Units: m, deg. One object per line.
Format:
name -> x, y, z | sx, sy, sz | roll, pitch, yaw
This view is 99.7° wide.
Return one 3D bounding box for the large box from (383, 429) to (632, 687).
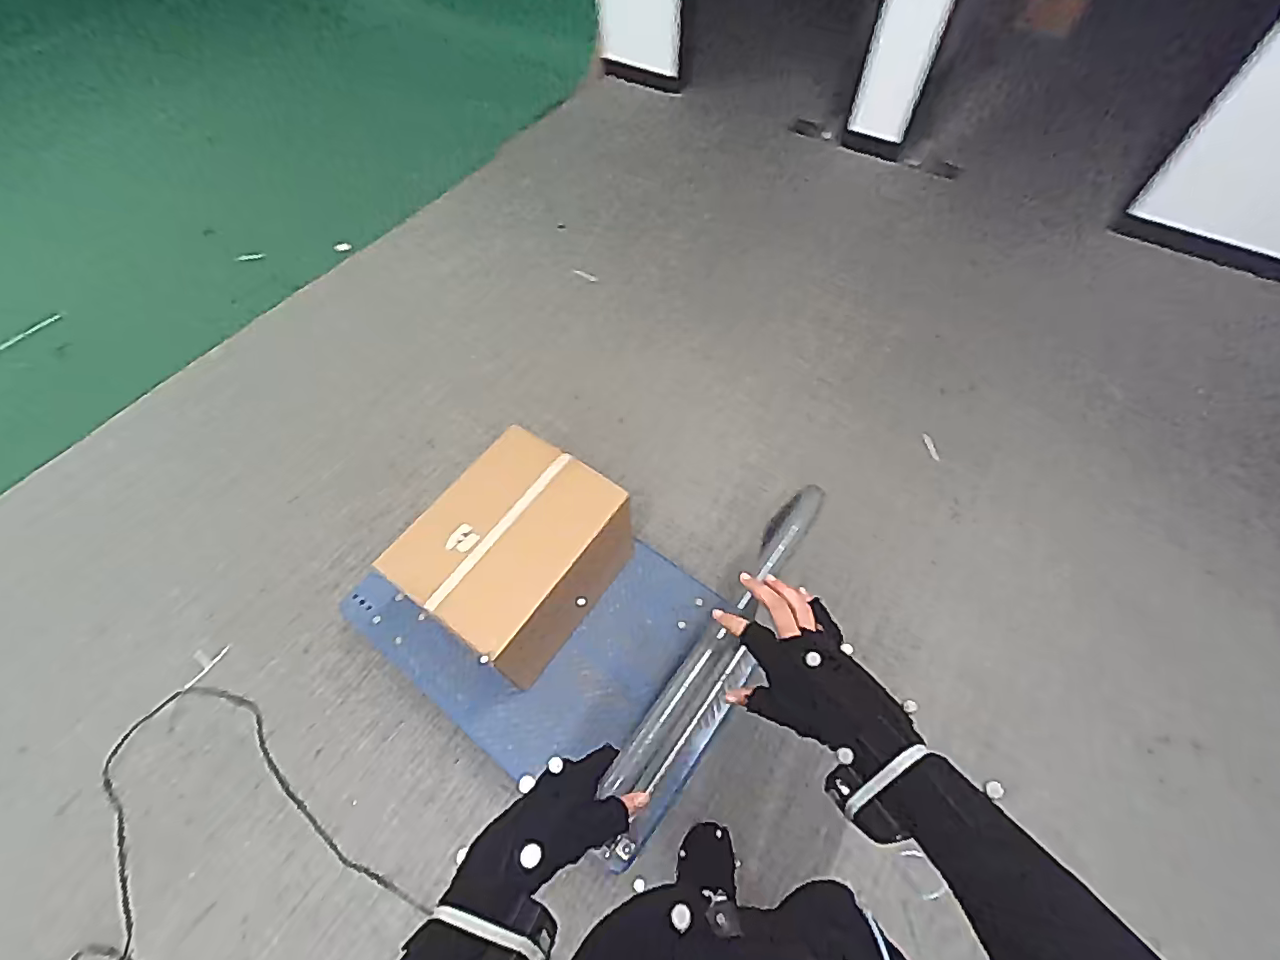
large box -> -0.253, 0.174, 1.188 | 0.320, 0.320, 0.408 | 30, 65, 19
